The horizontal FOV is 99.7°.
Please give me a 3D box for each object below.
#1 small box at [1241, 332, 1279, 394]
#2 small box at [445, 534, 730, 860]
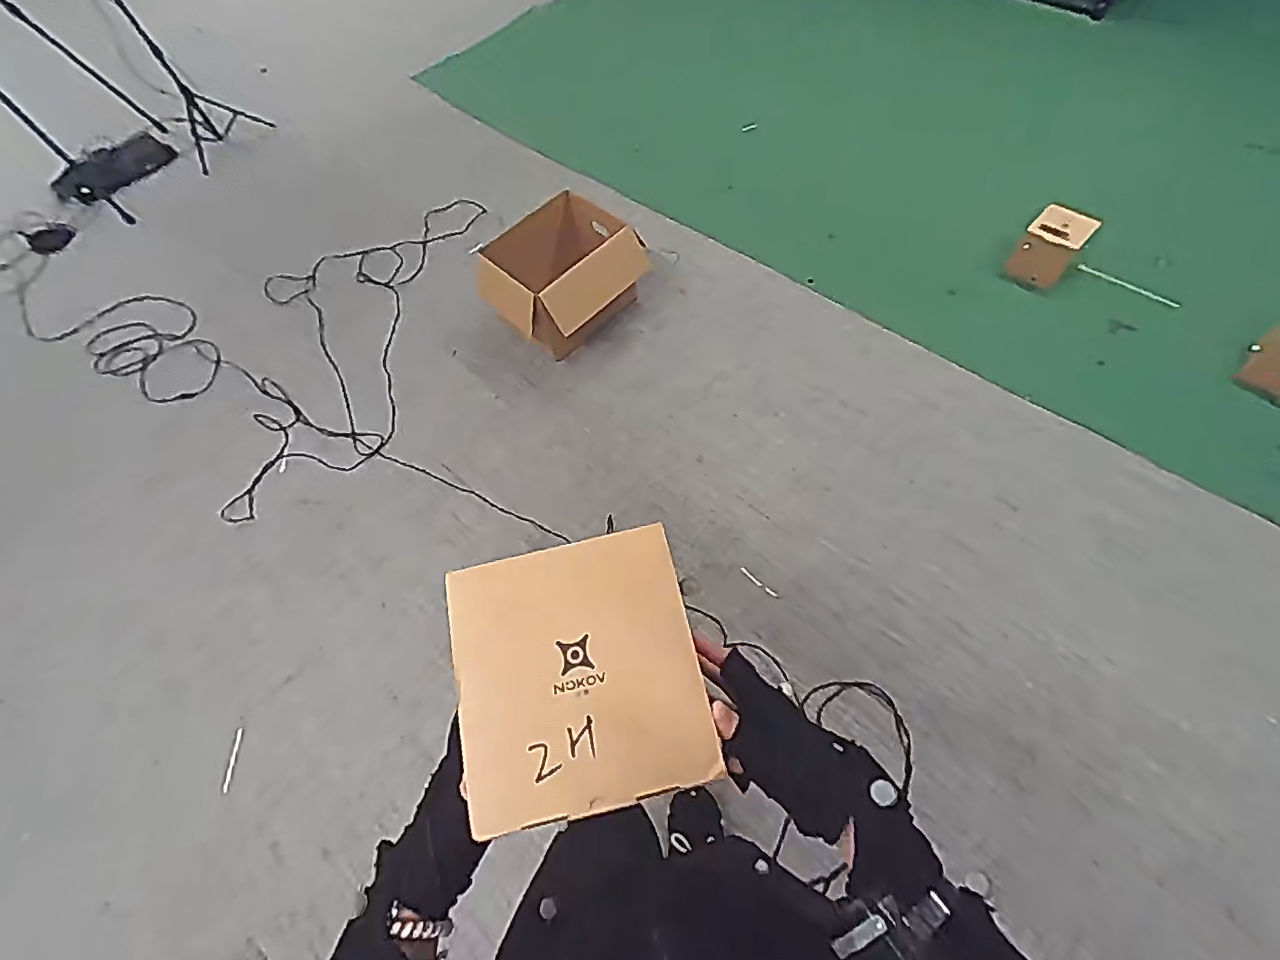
[{"bbox_3d":[1.902,-0.348,1.533,0.179,0.176,0.168,39,72,23],"label":"small box"},{"bbox_3d":[-0.039,0.162,0.431,0.168,0.176,0.179,-13,69,-2],"label":"small box"}]
